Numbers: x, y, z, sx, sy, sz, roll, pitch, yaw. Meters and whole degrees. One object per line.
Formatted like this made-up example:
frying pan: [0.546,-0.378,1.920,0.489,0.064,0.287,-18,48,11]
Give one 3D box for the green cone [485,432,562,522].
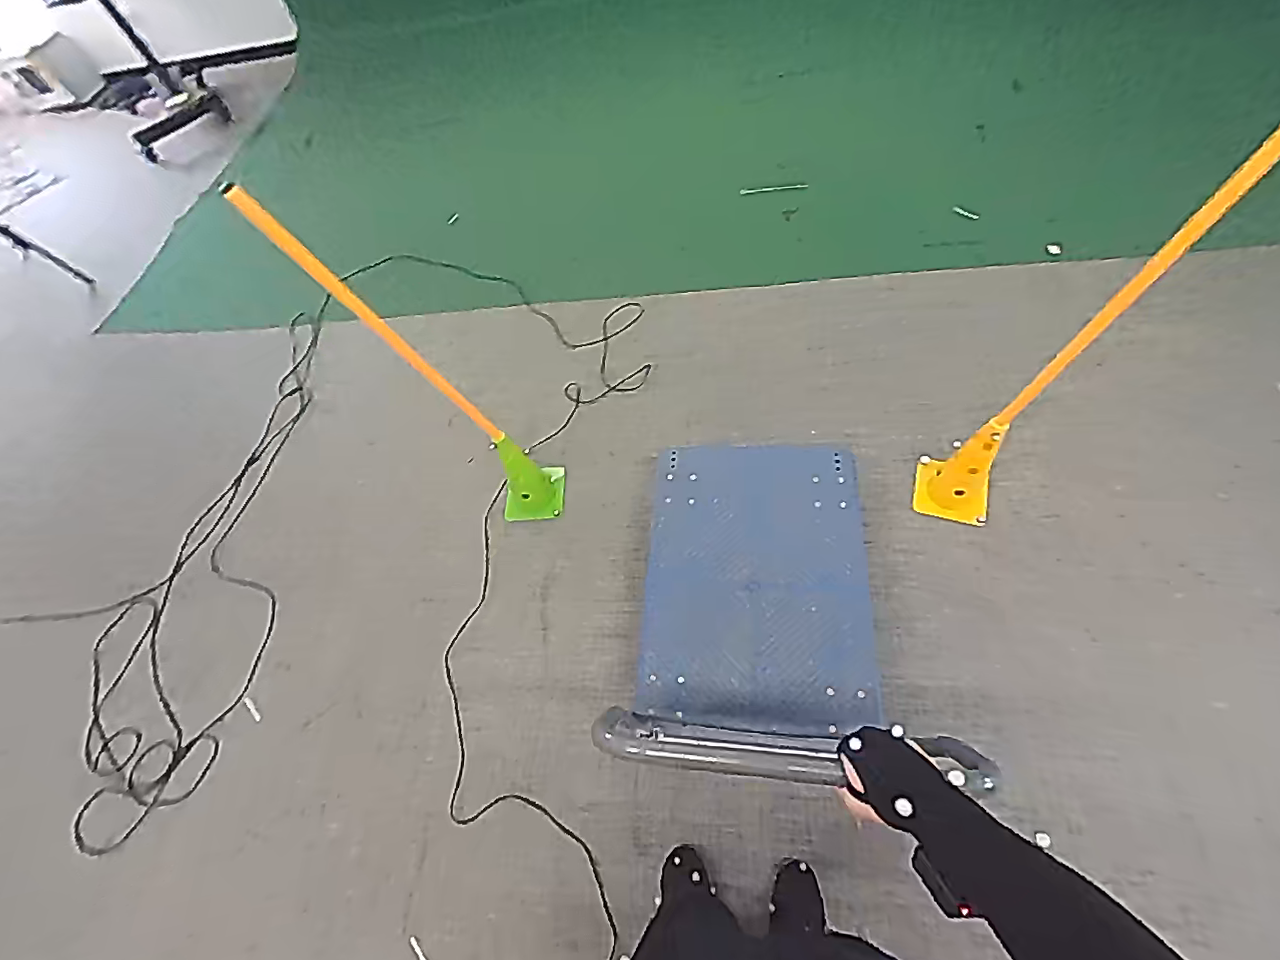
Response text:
green cone: [-0.397,-0.039,1.720,0.202,0.368,0.200,-6,59,8]
